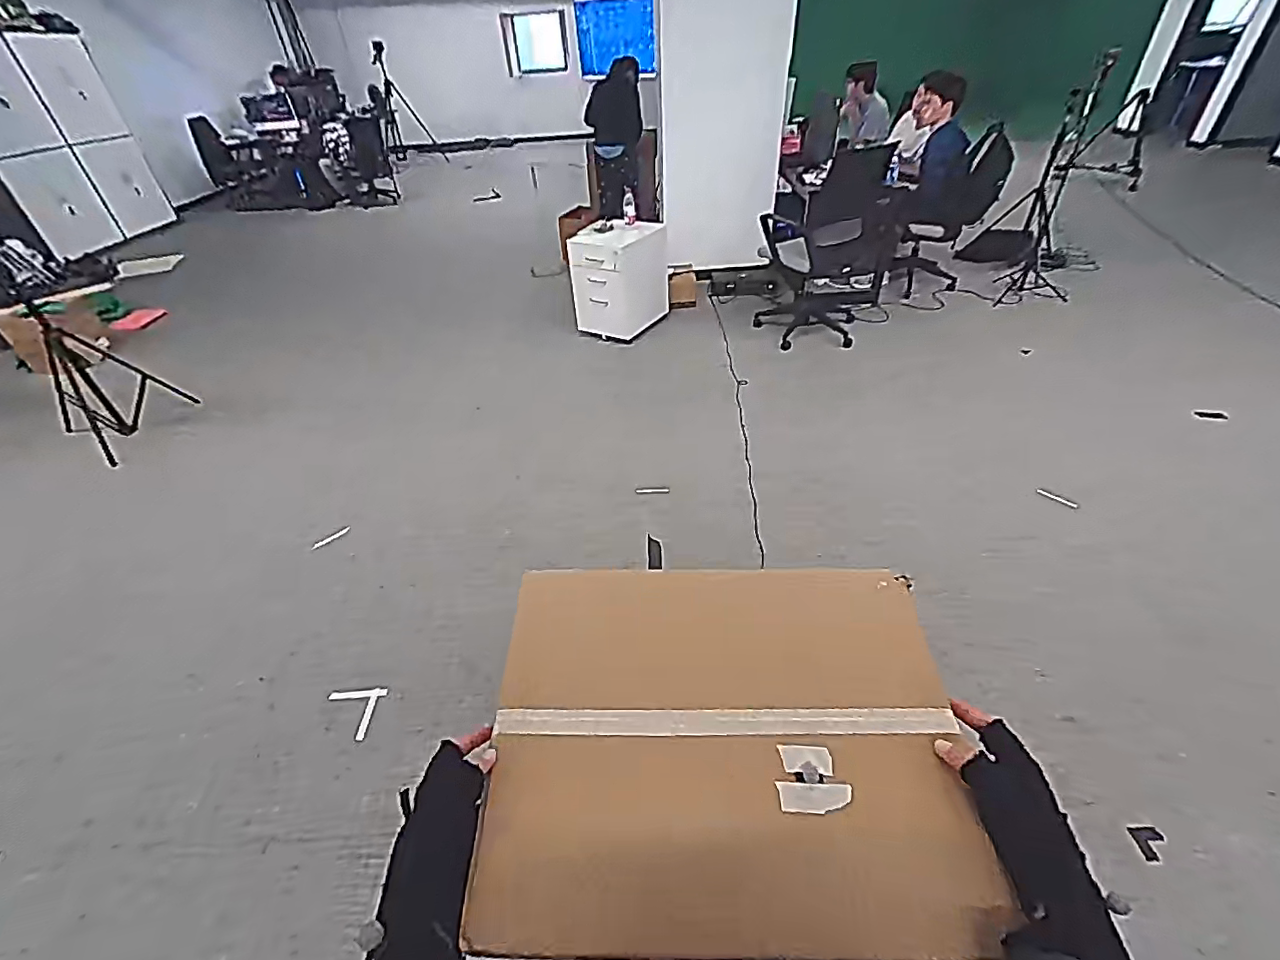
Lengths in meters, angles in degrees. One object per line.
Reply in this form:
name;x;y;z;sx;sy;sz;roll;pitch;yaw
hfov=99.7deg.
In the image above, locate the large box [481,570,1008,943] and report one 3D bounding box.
large box;0.079;0.316;0.610;0.408;0.320;0.320;0;50;2
